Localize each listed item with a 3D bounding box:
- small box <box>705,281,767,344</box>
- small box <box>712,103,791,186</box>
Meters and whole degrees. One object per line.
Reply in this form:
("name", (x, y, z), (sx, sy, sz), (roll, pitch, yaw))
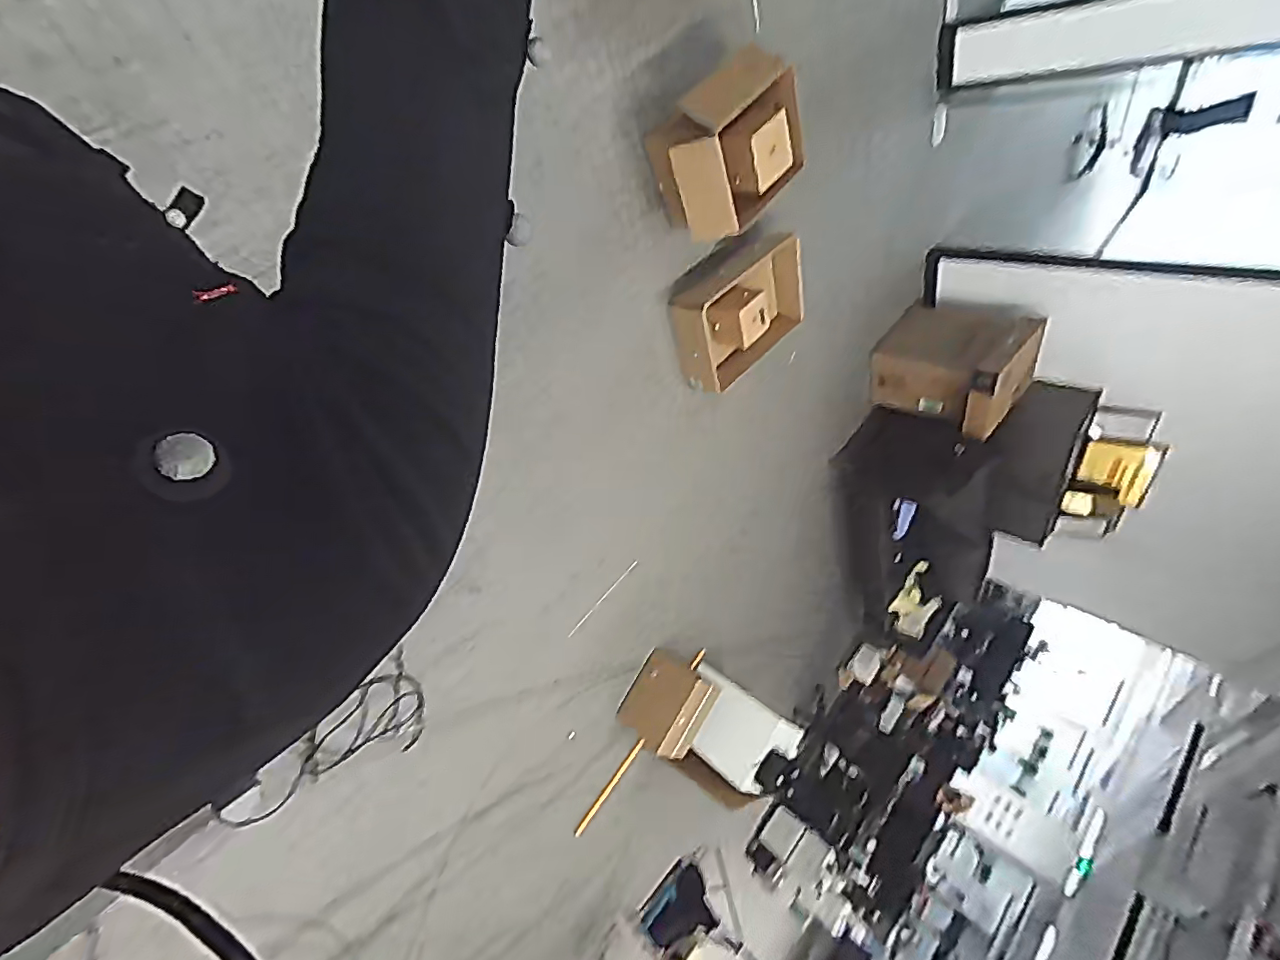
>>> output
("small box", (0.387, -0.678, 2.171), (0.179, 0.176, 0.168), (-44, 137, -22))
("small box", (0.347, -1.056, 1.710), (0.179, 0.176, 0.168), (-48, 139, -16))
